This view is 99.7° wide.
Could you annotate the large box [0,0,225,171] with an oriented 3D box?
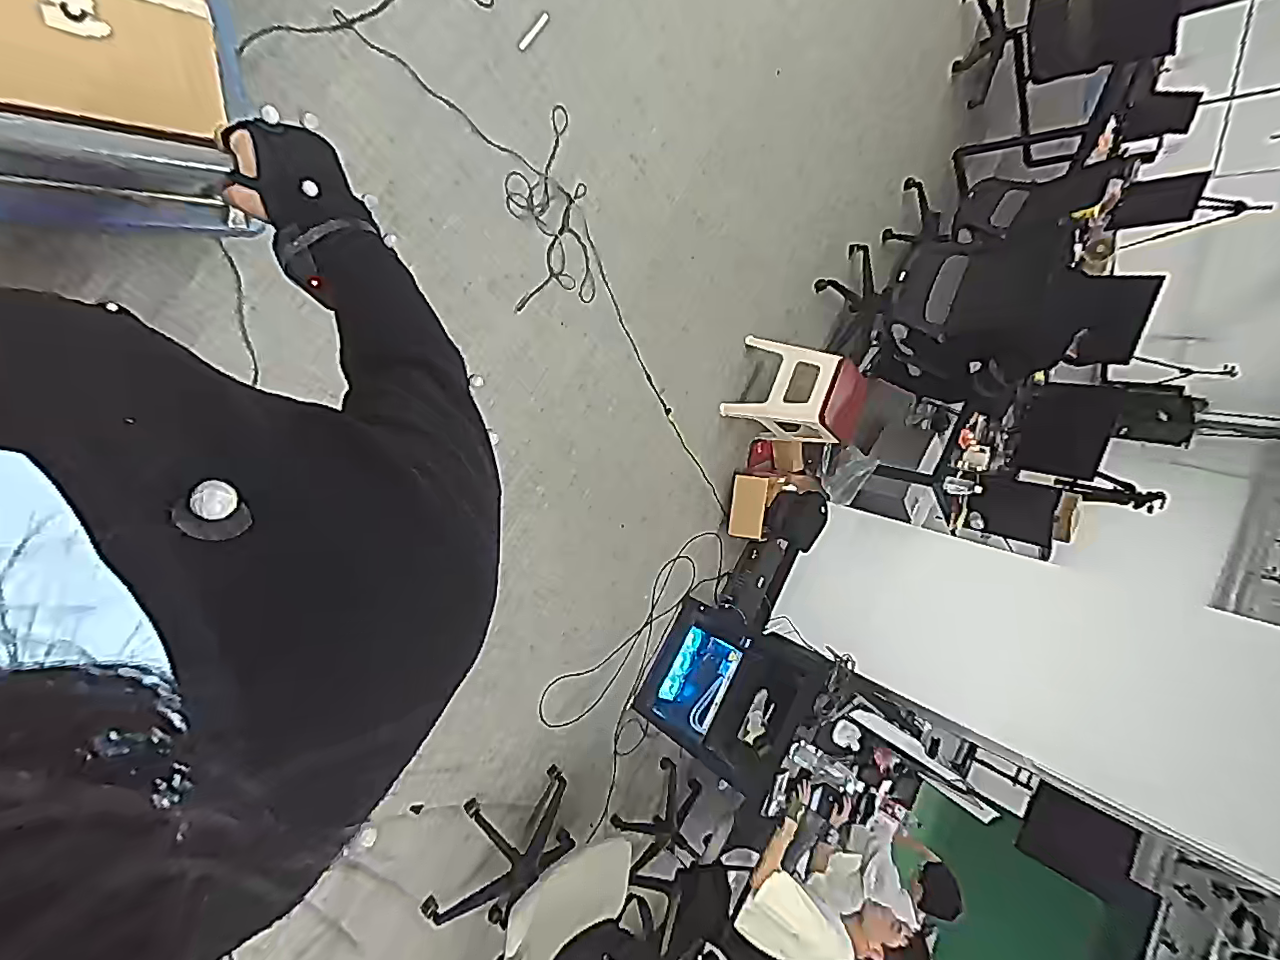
[{"bbox_3d":[-0.839,-0.625,0.696,0.408,0.320,0.320,-16,115,-43],"label":"large box"}]
